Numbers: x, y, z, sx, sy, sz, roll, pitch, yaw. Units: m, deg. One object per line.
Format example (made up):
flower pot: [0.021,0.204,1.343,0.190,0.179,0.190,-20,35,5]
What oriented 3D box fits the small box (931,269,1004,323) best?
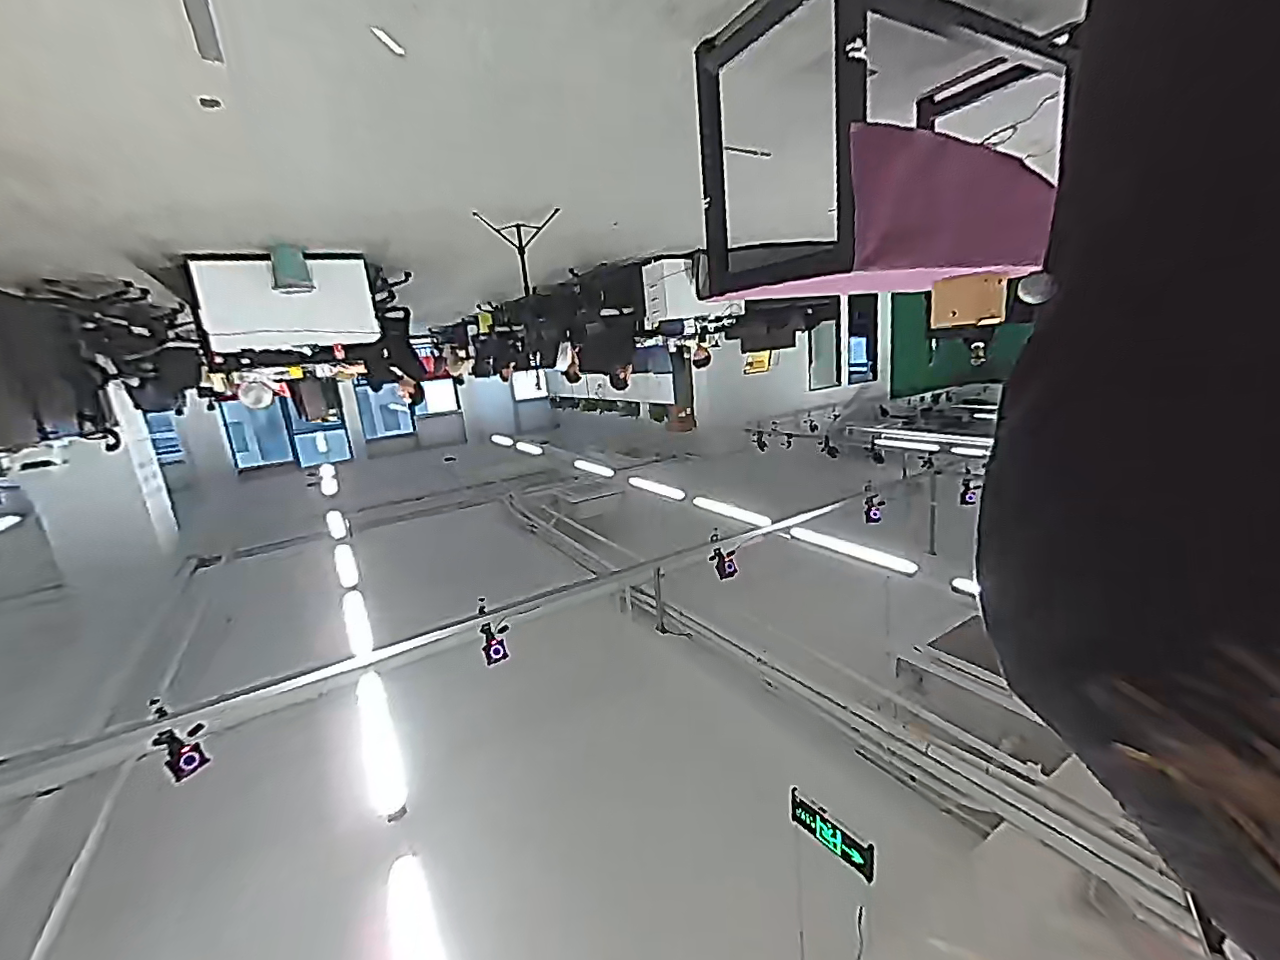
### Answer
small box: [1.196,-0.675,1.977,0.168,0.176,0.179,-10,-165,-18]
